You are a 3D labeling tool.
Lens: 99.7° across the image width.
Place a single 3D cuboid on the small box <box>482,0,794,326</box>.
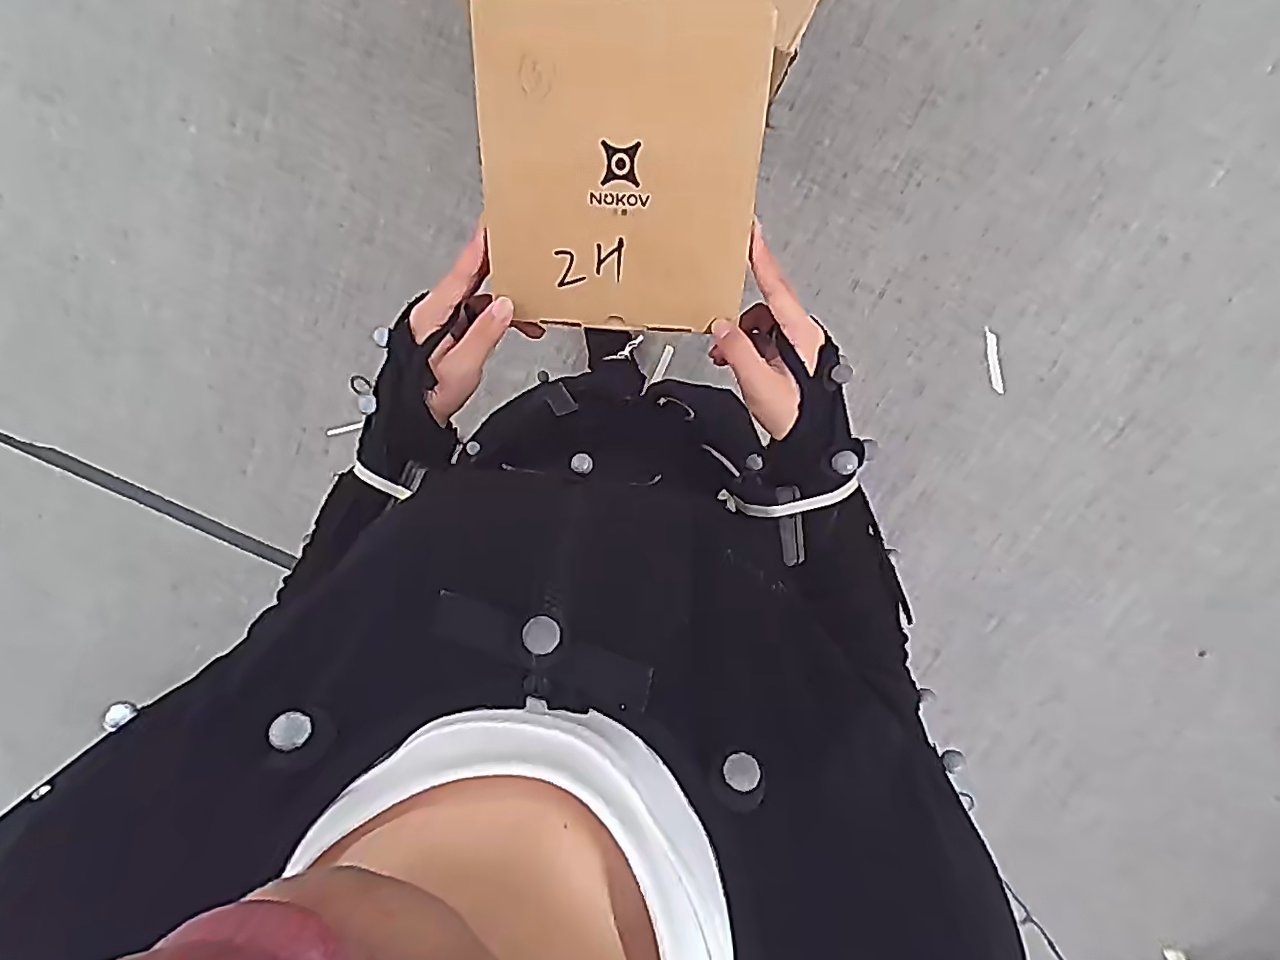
[{"bbox_3d":[-0.003,-0.218,0.384,0.168,0.176,0.179,5,116,2],"label":"small box"}]
